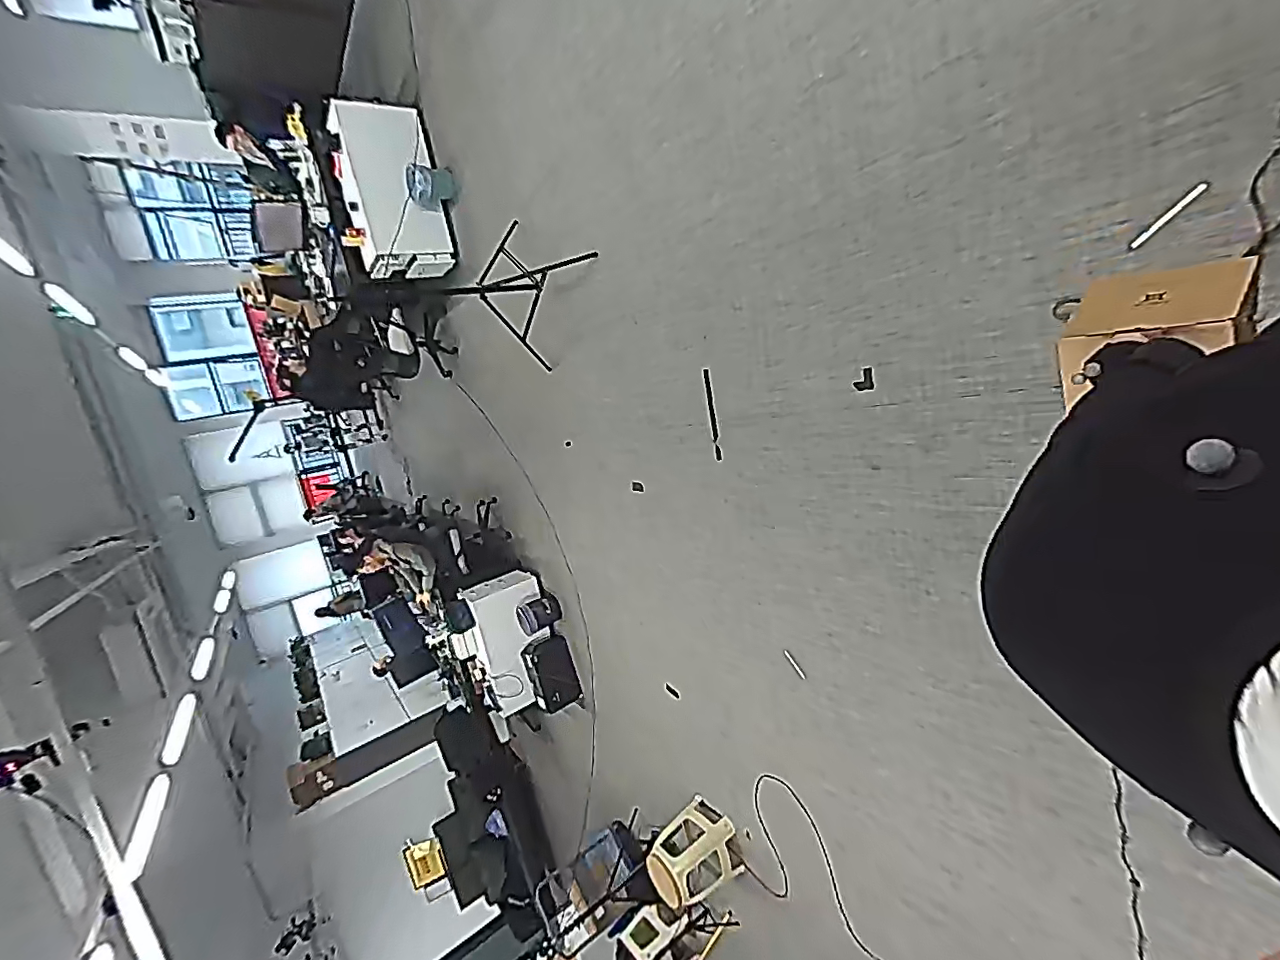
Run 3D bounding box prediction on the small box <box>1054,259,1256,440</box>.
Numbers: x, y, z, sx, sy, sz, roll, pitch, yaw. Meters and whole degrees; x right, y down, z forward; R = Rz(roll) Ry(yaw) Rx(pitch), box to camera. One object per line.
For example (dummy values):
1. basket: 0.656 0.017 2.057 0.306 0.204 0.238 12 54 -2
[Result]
1. small box: 0.701 -0.167 0.736 0.168 0.179 0.176 9 134 53
